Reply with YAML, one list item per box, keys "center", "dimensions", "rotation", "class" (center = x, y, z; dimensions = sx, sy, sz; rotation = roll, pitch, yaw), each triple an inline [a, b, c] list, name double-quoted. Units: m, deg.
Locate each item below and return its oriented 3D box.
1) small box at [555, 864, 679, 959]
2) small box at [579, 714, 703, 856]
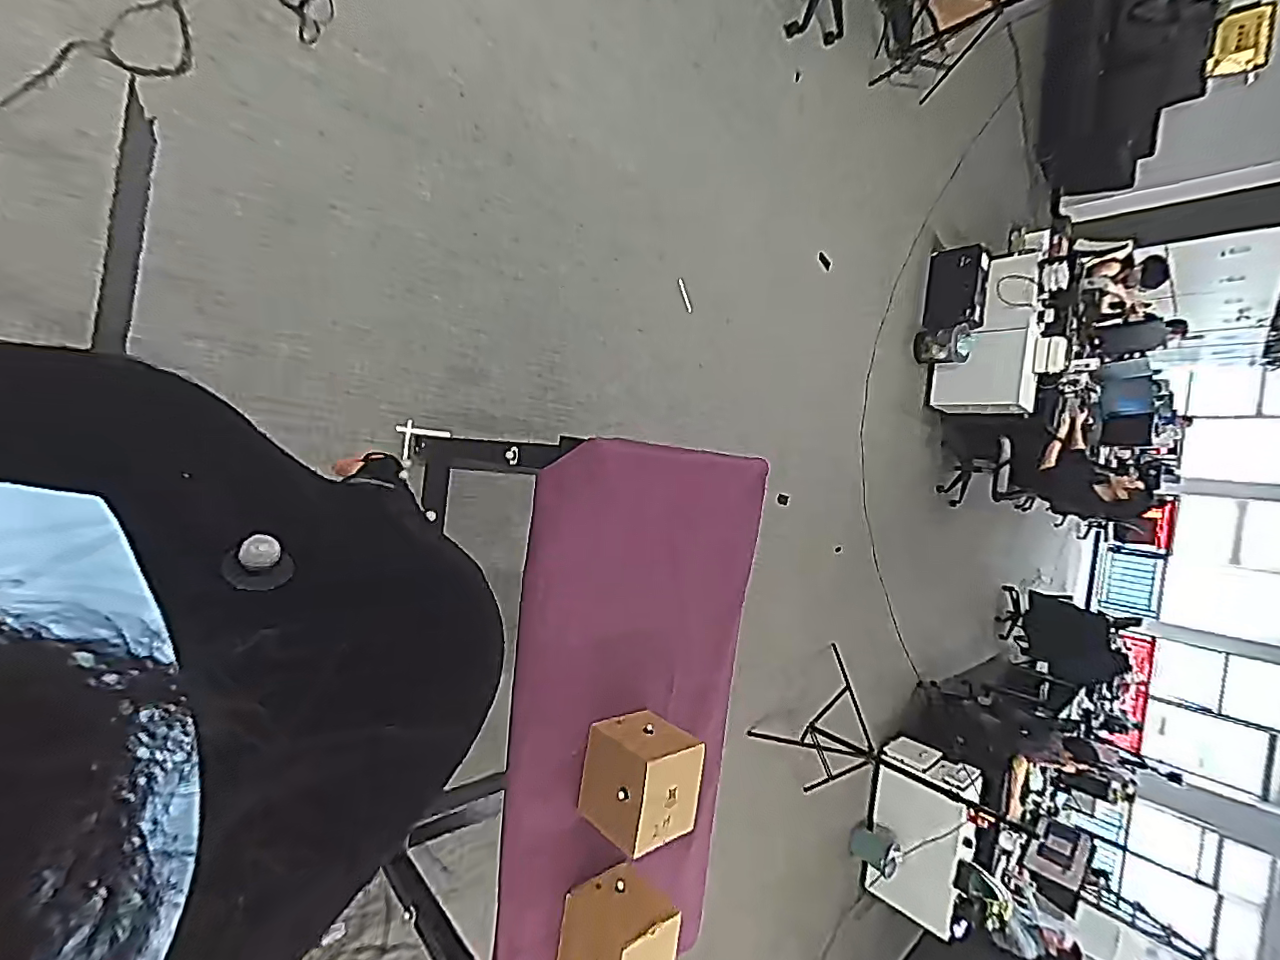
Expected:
- center: [-0.049, 0.915, 1.066]
  dimensions: [0.168, 0.176, 0.179]
  rotation: [11, 87, -45]
  class: "small box"
- center: [-0.001, 0.582, 1.066]
  dimensions: [0.168, 0.176, 0.179]
  rotation: [10, 89, -43]
  class: "small box"
